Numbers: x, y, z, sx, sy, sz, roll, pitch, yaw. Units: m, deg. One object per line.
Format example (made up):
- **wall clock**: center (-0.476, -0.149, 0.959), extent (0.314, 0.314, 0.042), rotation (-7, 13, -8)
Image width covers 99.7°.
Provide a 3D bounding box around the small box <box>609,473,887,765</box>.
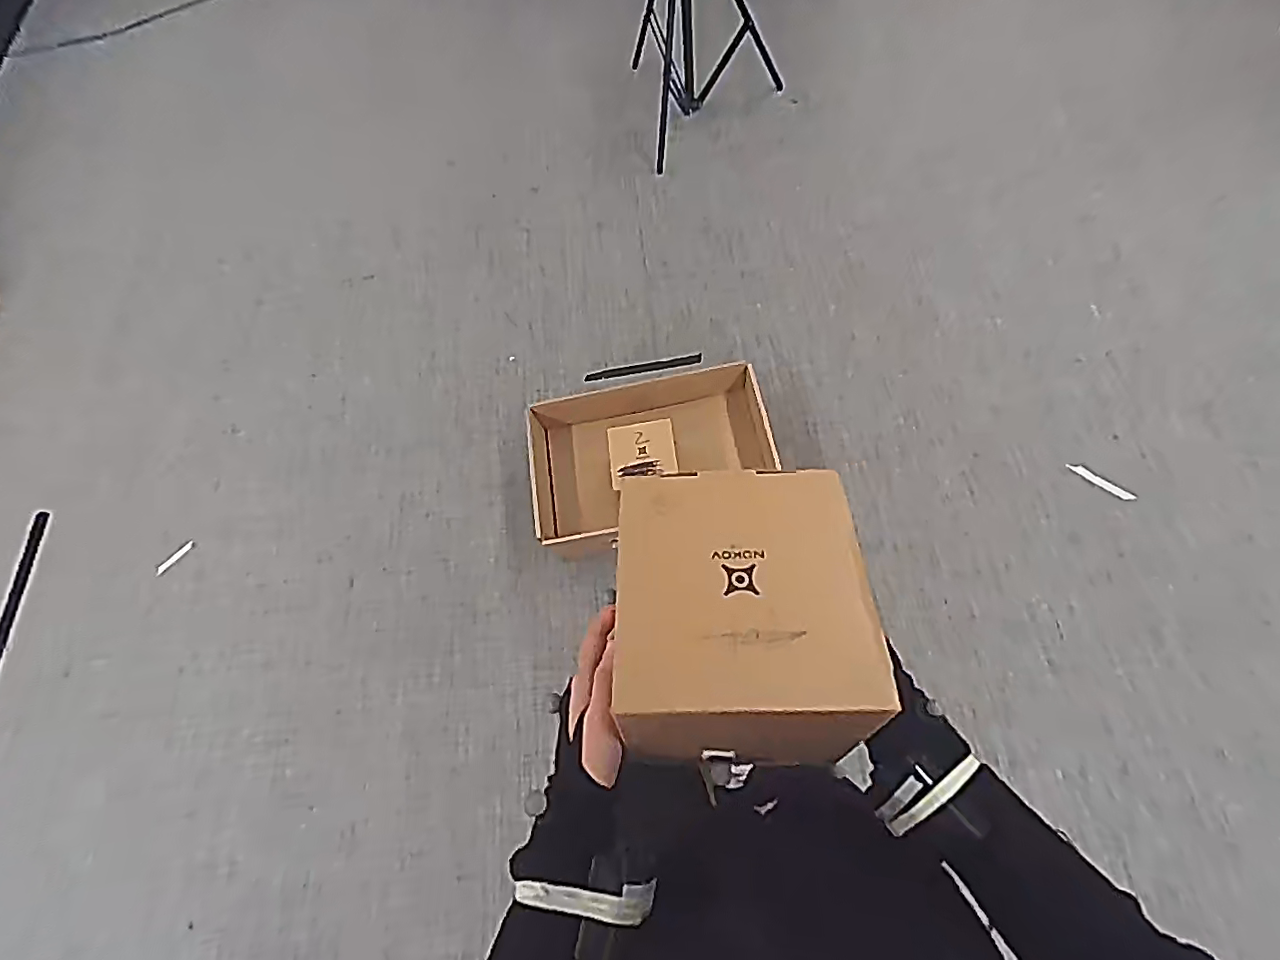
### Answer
- **small box**: center (0.068, 0.113, 0.430), extent (0.168, 0.176, 0.179), rotation (-1, 53, 3)
